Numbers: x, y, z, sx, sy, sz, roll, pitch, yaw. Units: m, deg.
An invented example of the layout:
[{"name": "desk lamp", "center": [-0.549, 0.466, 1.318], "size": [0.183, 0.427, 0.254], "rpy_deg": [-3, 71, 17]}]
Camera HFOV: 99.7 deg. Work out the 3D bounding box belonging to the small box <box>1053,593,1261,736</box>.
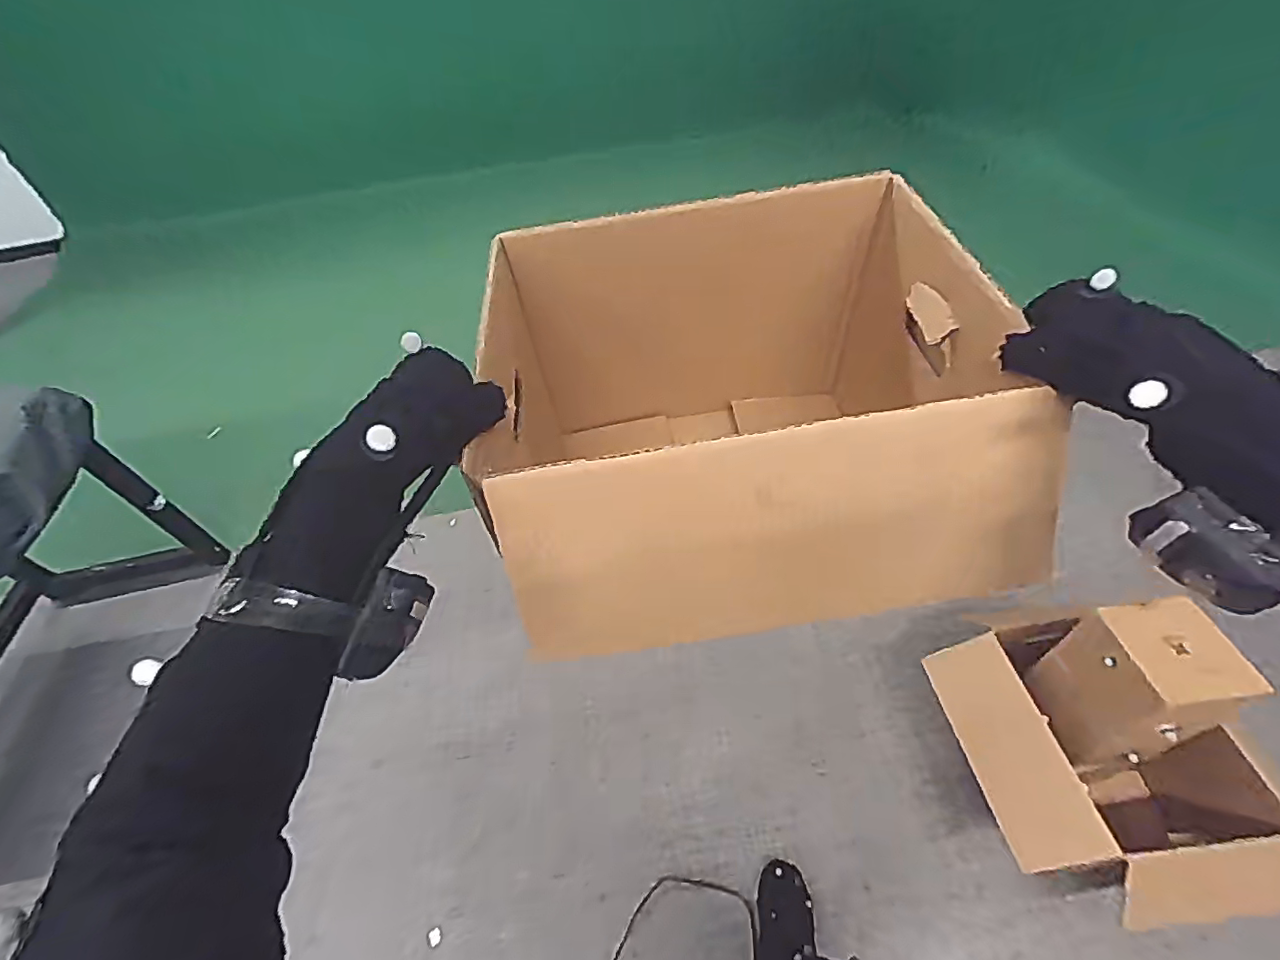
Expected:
[{"name": "small box", "center": [0.896, 0.329, 0.964], "size": [0.168, 0.176, 0.179], "rpy_deg": [-9, 47, 1]}]
